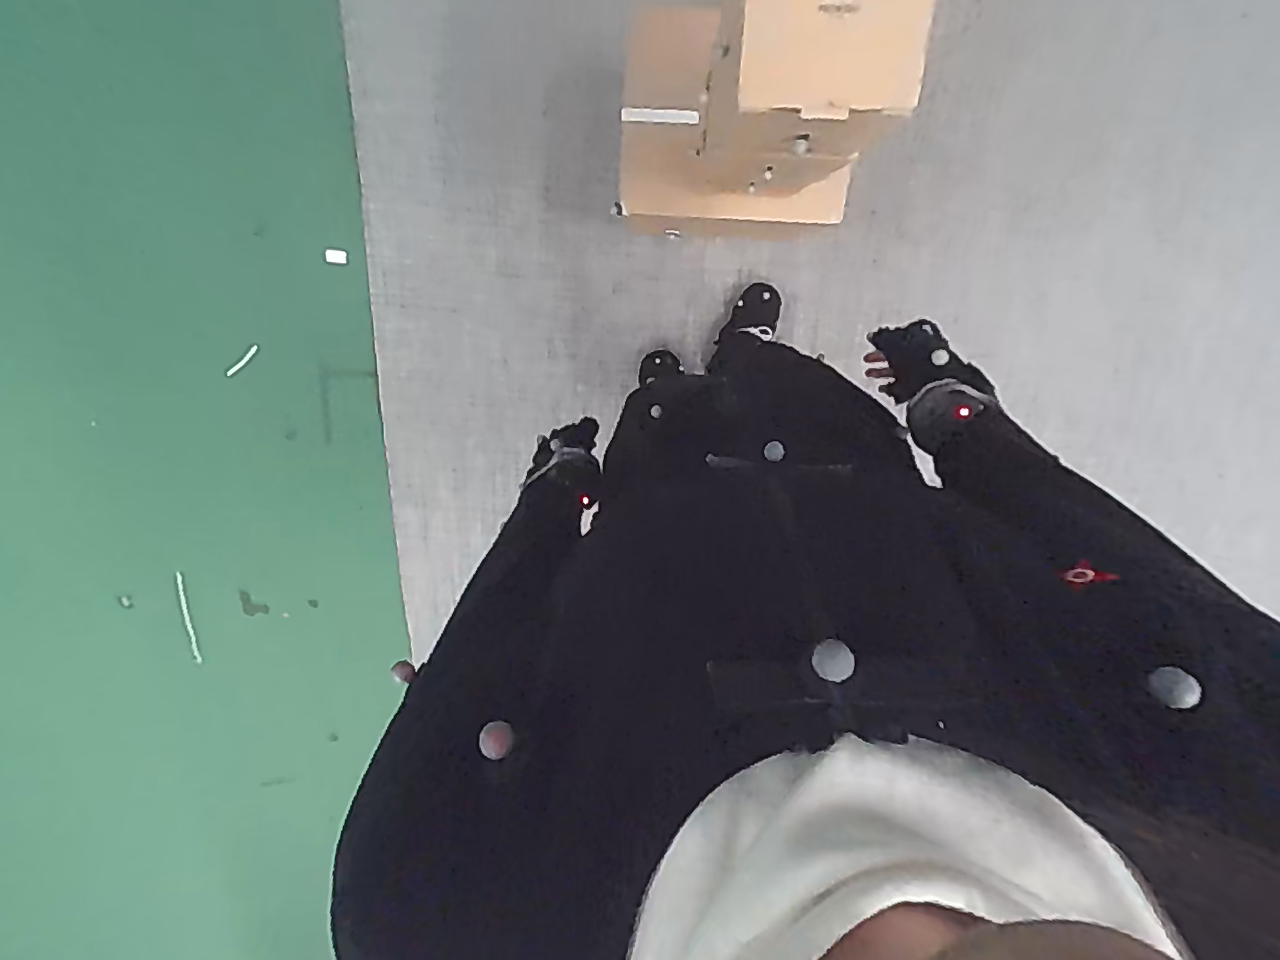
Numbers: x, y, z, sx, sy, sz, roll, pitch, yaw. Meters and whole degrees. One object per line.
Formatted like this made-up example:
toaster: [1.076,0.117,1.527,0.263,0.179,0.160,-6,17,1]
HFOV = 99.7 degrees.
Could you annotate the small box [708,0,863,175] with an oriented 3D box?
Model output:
small box: [0.186,-0.501,0.697,0.179,0.176,0.168,3,110,3]

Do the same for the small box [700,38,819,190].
small box: [0.189,-0.562,0.850,0.179,0.176,0.168,2,111,1]

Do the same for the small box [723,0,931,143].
small box: [0.176,-0.452,0.541,0.168,0.176,0.179,2,111,3]
